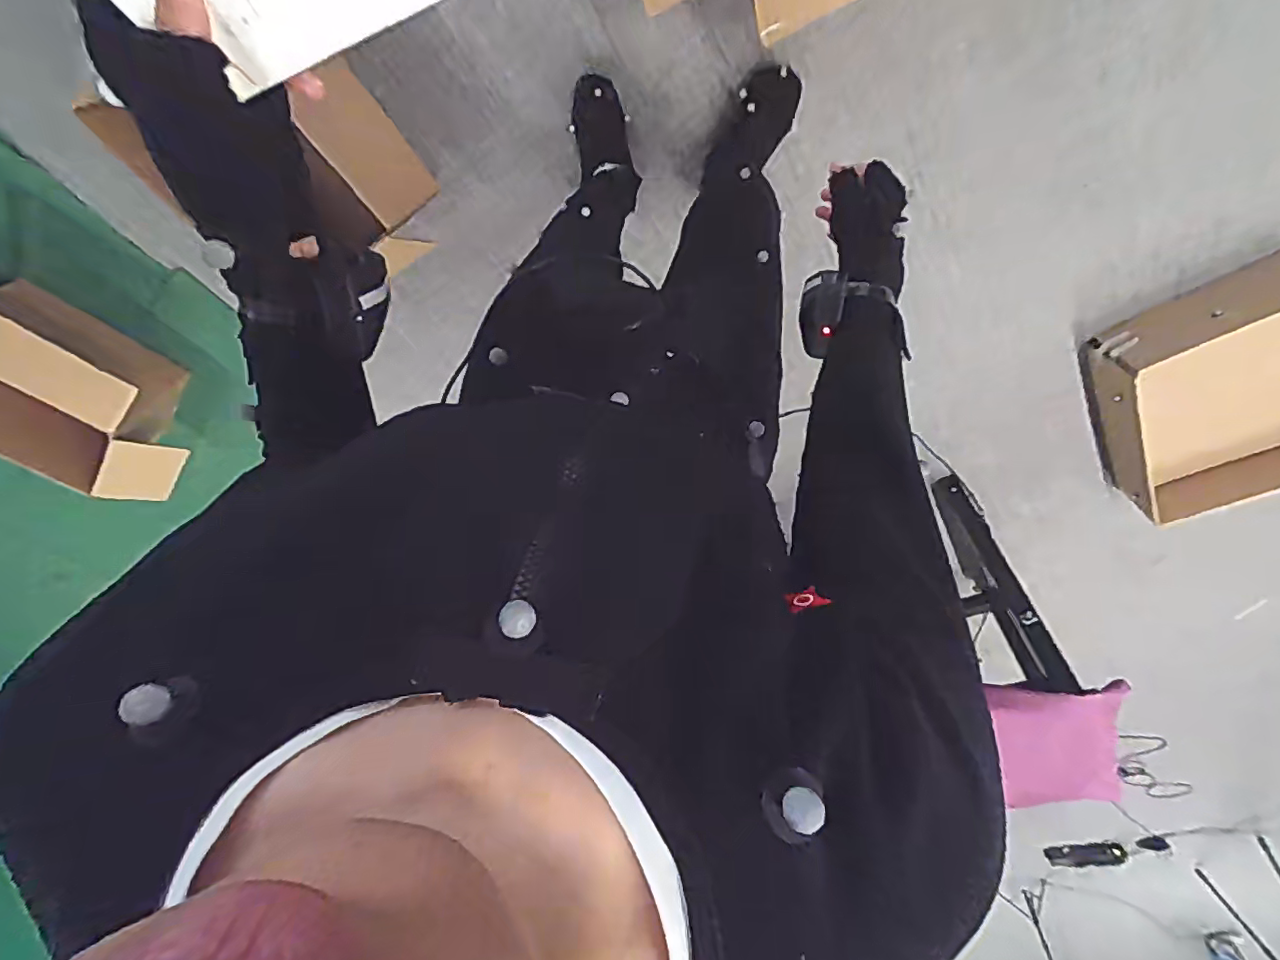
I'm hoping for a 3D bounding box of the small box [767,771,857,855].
[{"bbox_3d":[0.465,0.916,1.478,0.168,0.176,0.179,-26,126,23],"label":"small box"}]
